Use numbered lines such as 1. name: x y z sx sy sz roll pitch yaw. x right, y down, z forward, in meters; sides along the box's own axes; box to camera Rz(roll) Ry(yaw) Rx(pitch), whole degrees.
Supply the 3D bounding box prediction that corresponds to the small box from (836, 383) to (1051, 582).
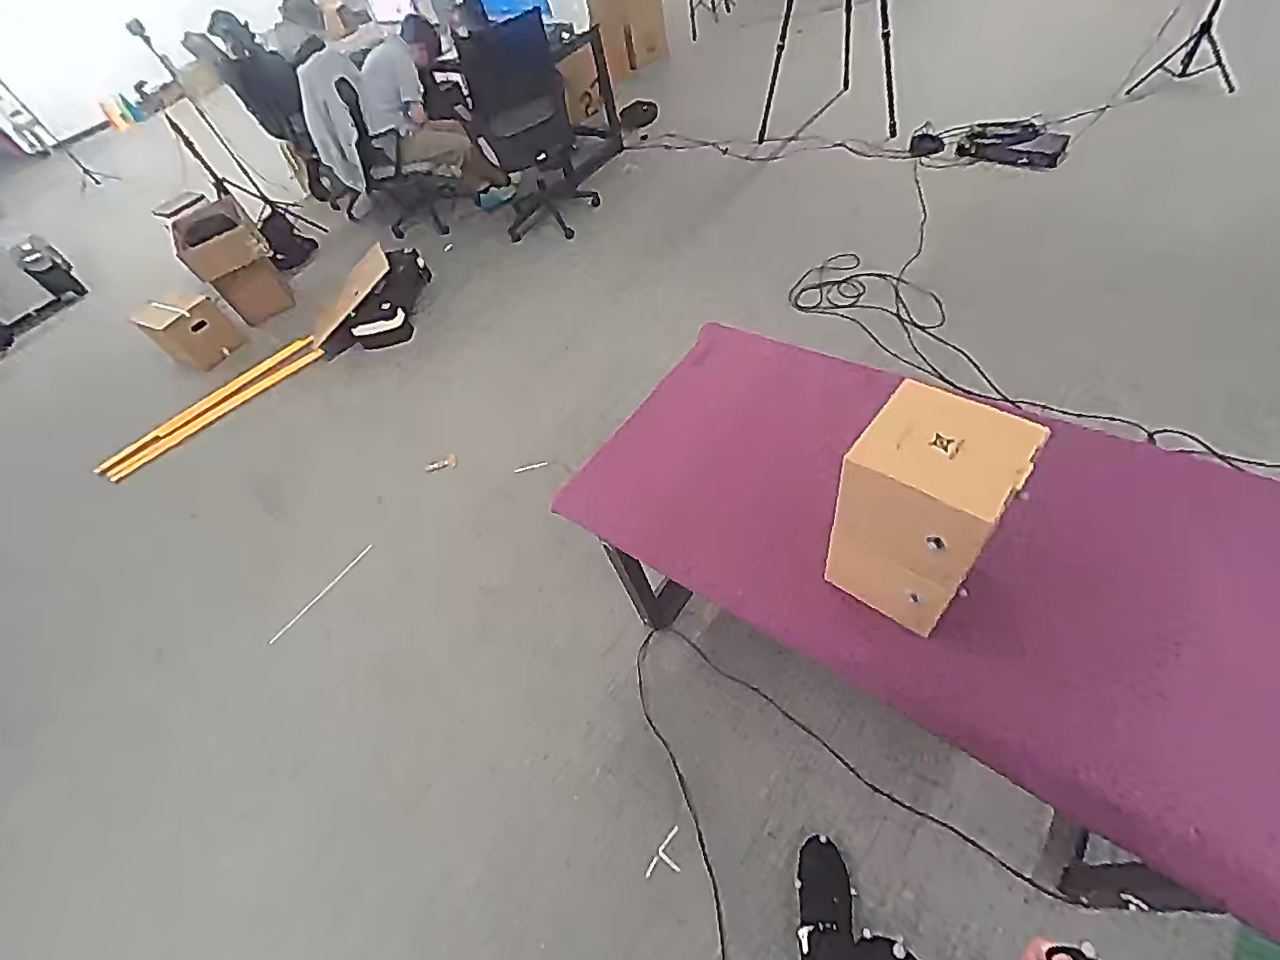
1. small box: 0.382 0.009 0.711 0.179 0.176 0.168 32 66 32
